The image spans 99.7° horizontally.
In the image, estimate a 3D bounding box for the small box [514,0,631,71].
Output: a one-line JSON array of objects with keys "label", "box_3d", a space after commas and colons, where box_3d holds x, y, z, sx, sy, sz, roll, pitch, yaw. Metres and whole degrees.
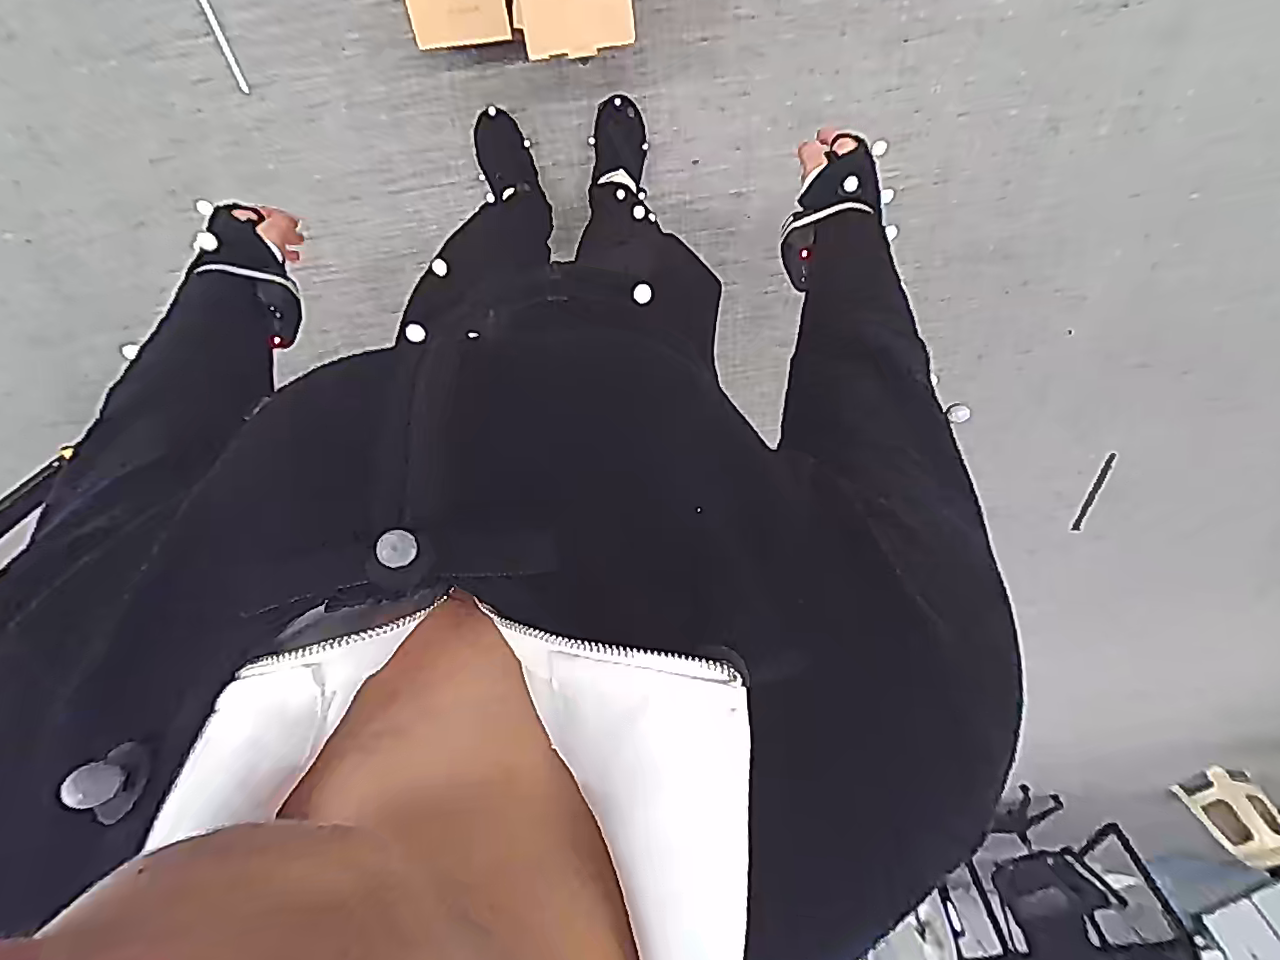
[{"label": "small box", "box_3d": [-0.105, -0.757, 0.836, 0.168, 0.176, 0.179, -7, 130, 1]}]
